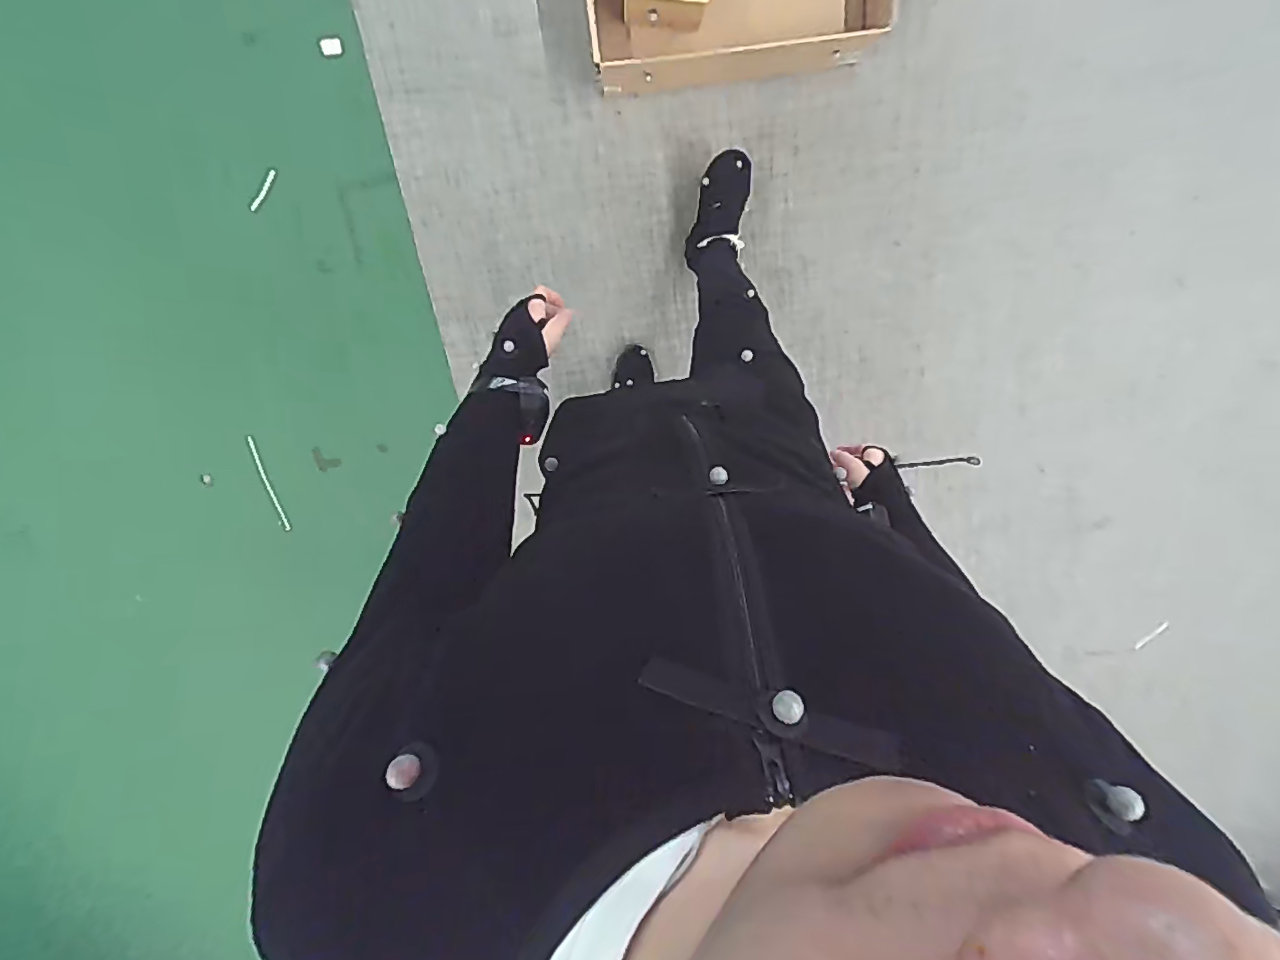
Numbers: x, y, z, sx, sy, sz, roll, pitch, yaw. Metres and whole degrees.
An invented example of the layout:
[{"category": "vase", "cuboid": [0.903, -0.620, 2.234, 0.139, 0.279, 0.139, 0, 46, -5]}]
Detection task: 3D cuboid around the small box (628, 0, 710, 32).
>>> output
[{"category": "small box", "cuboid": [0.064, -1.036, 1.081, 0.168, 0.176, 0.179, 4, 111, -3]}]
